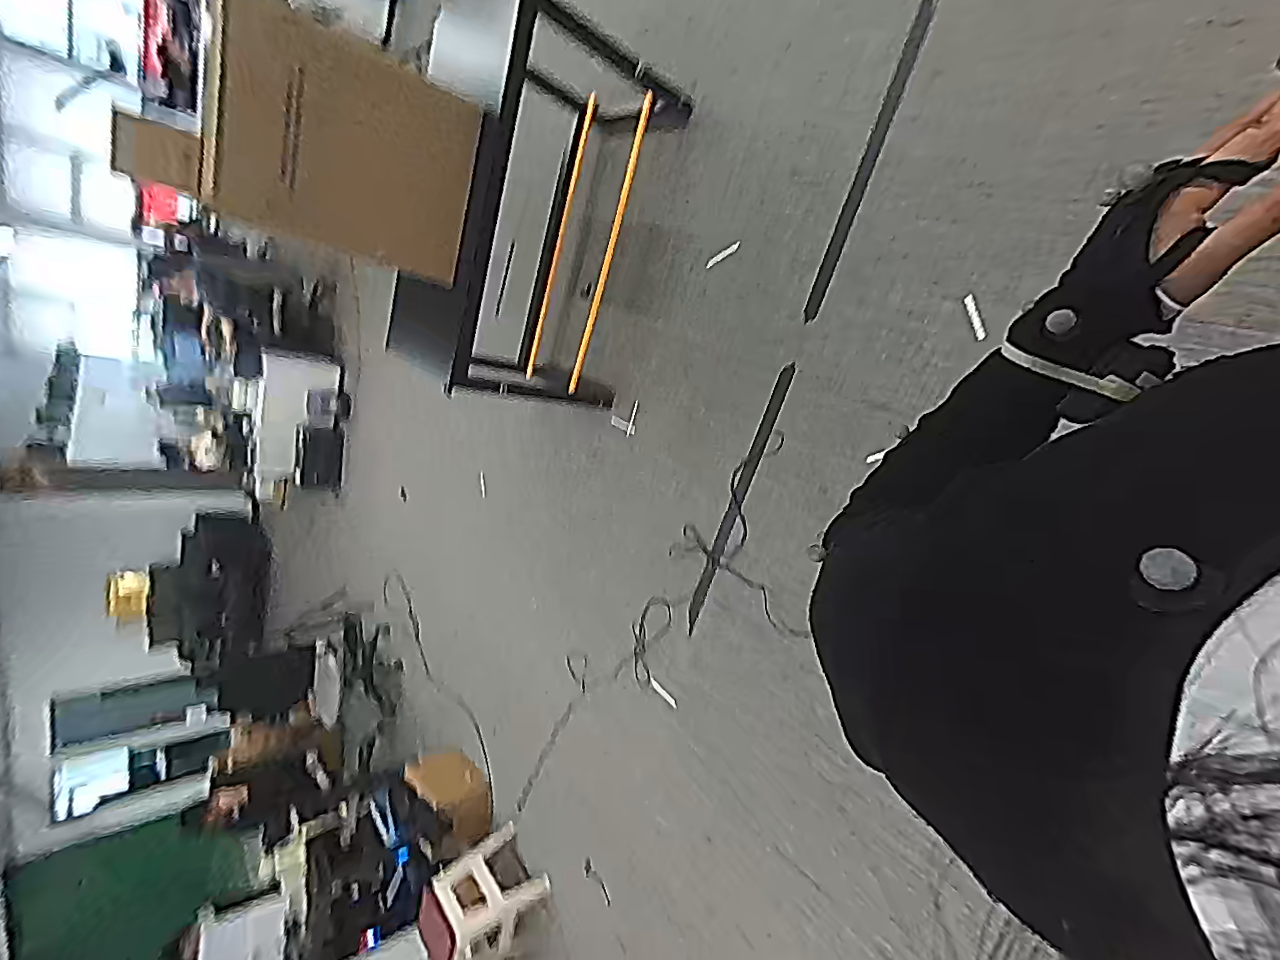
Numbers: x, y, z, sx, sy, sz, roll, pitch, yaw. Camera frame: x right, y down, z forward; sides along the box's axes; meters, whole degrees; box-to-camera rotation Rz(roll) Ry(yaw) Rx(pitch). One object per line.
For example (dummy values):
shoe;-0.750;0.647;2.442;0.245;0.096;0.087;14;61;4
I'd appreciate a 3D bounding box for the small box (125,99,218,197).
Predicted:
small box;-1.208;-0.844;1.394;0.179;0.176;0.168;29;111;43
